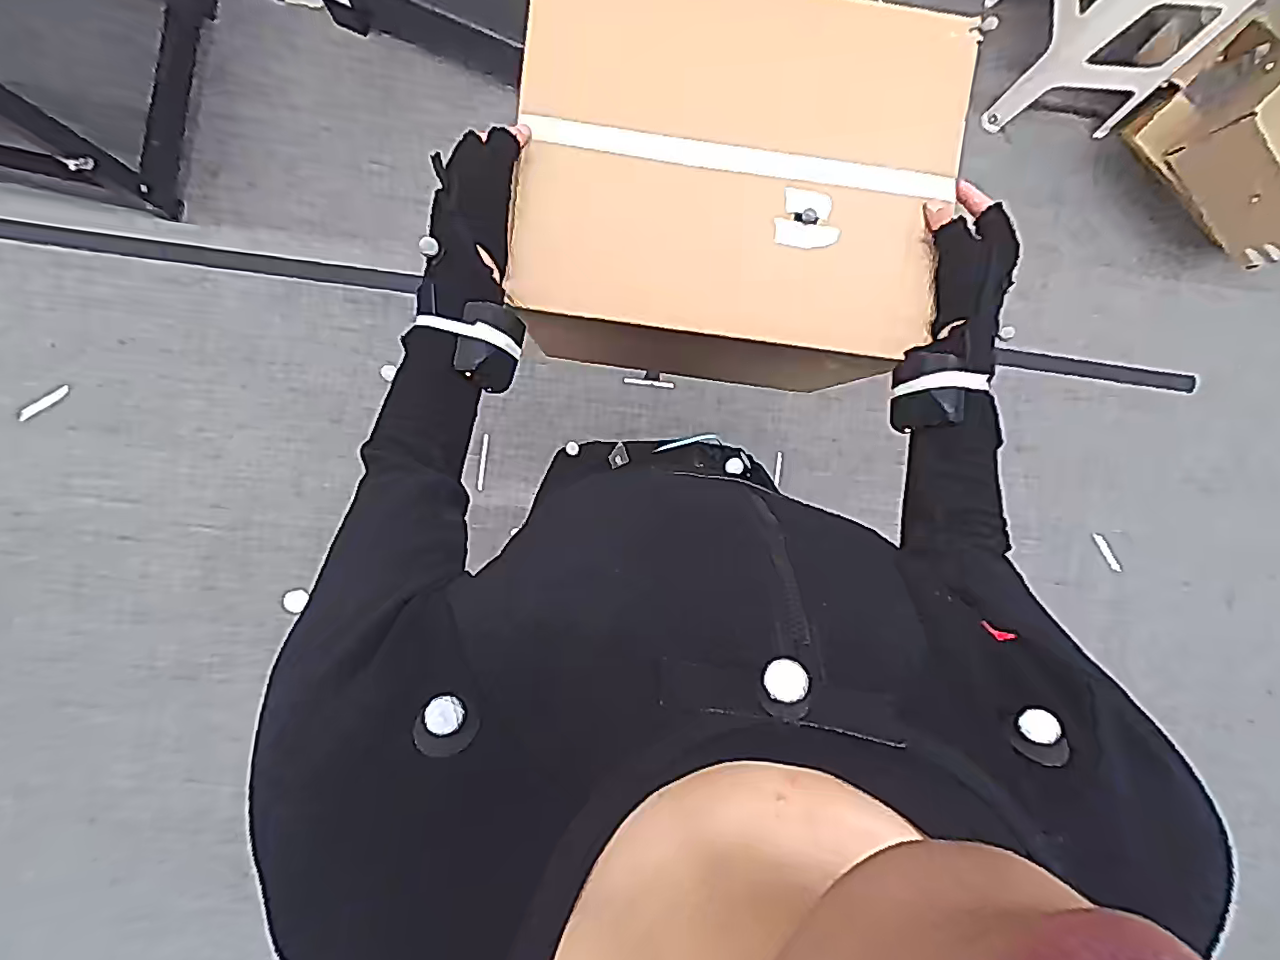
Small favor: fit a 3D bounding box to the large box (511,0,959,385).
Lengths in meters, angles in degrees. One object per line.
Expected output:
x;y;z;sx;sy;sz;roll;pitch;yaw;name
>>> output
0.081;-0.306;0.658;0.408;0.320;0.320;7;95;-4;large box
